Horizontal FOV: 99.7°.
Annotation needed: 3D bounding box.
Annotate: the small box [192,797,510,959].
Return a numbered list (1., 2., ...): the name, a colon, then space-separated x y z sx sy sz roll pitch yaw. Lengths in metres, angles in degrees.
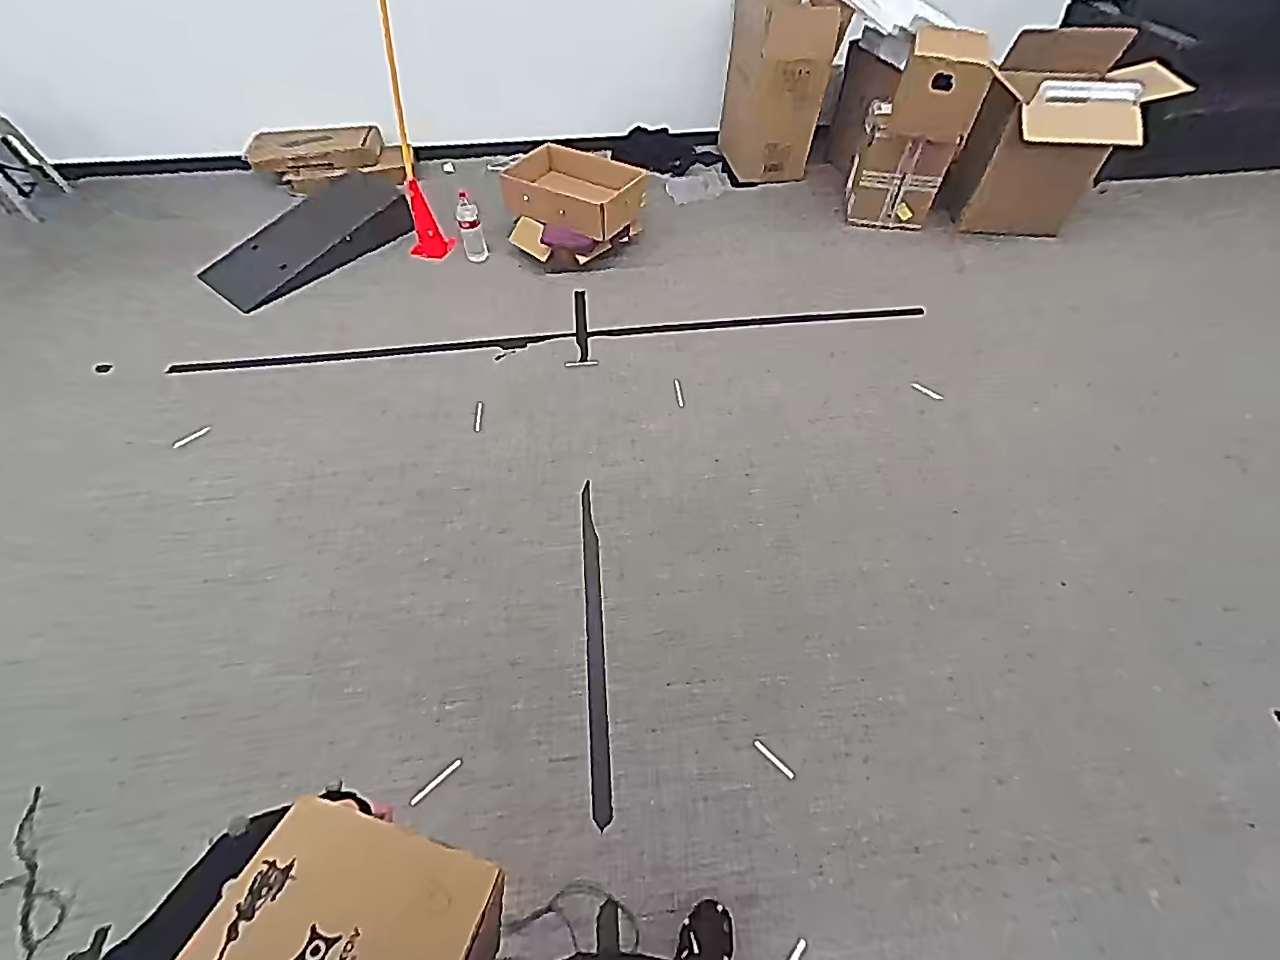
1. small box: -0.215 0.385 0.406 0.179 0.176 0.168 16 33 6
